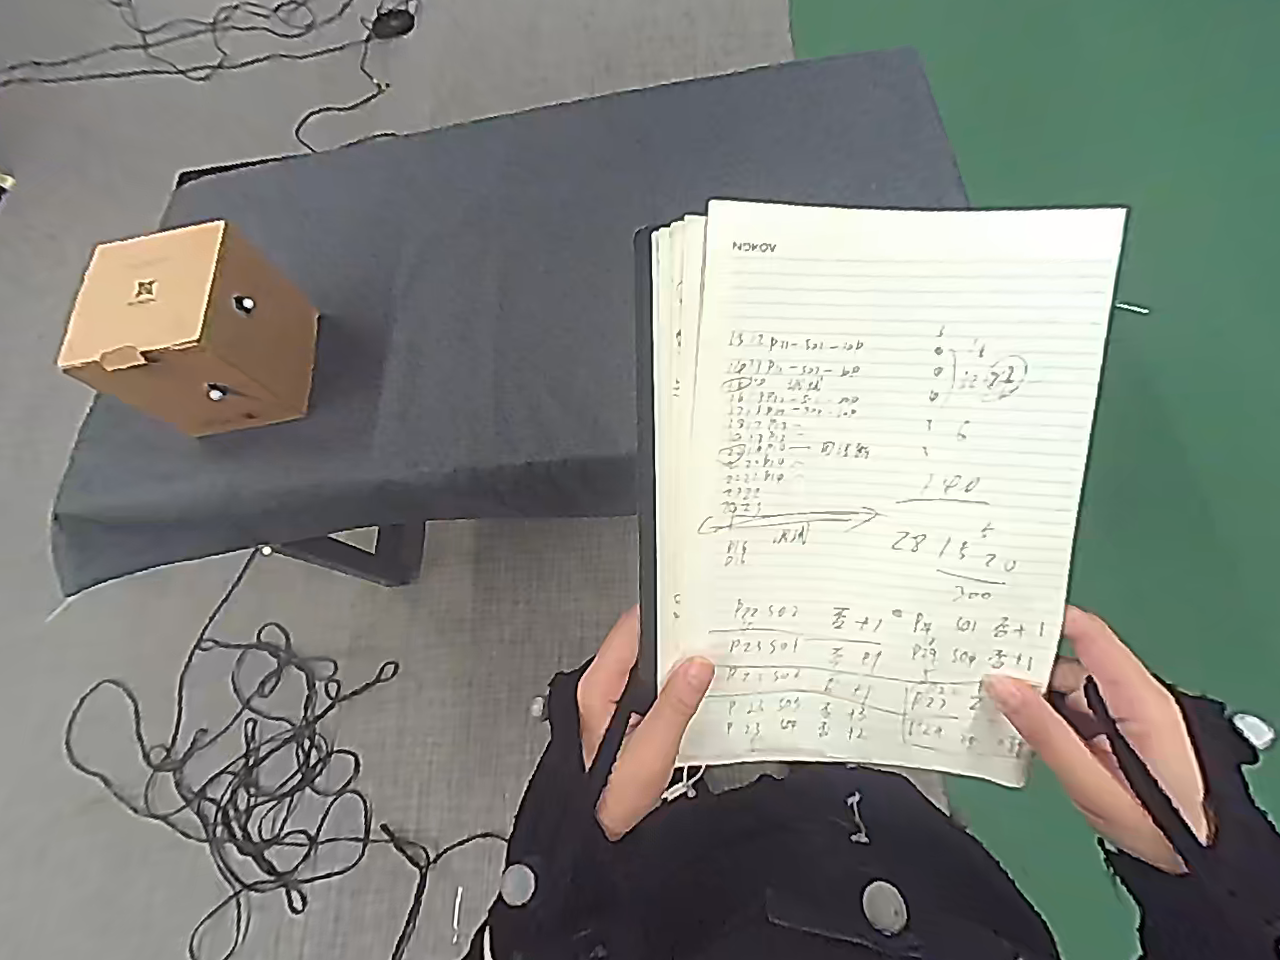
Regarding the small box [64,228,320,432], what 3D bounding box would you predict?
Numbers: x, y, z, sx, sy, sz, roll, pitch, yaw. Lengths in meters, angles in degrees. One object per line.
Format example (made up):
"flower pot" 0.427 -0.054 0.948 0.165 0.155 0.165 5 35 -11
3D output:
"small box" -0.535 -0.173 0.677 0.168 0.176 0.179 -9 66 4
